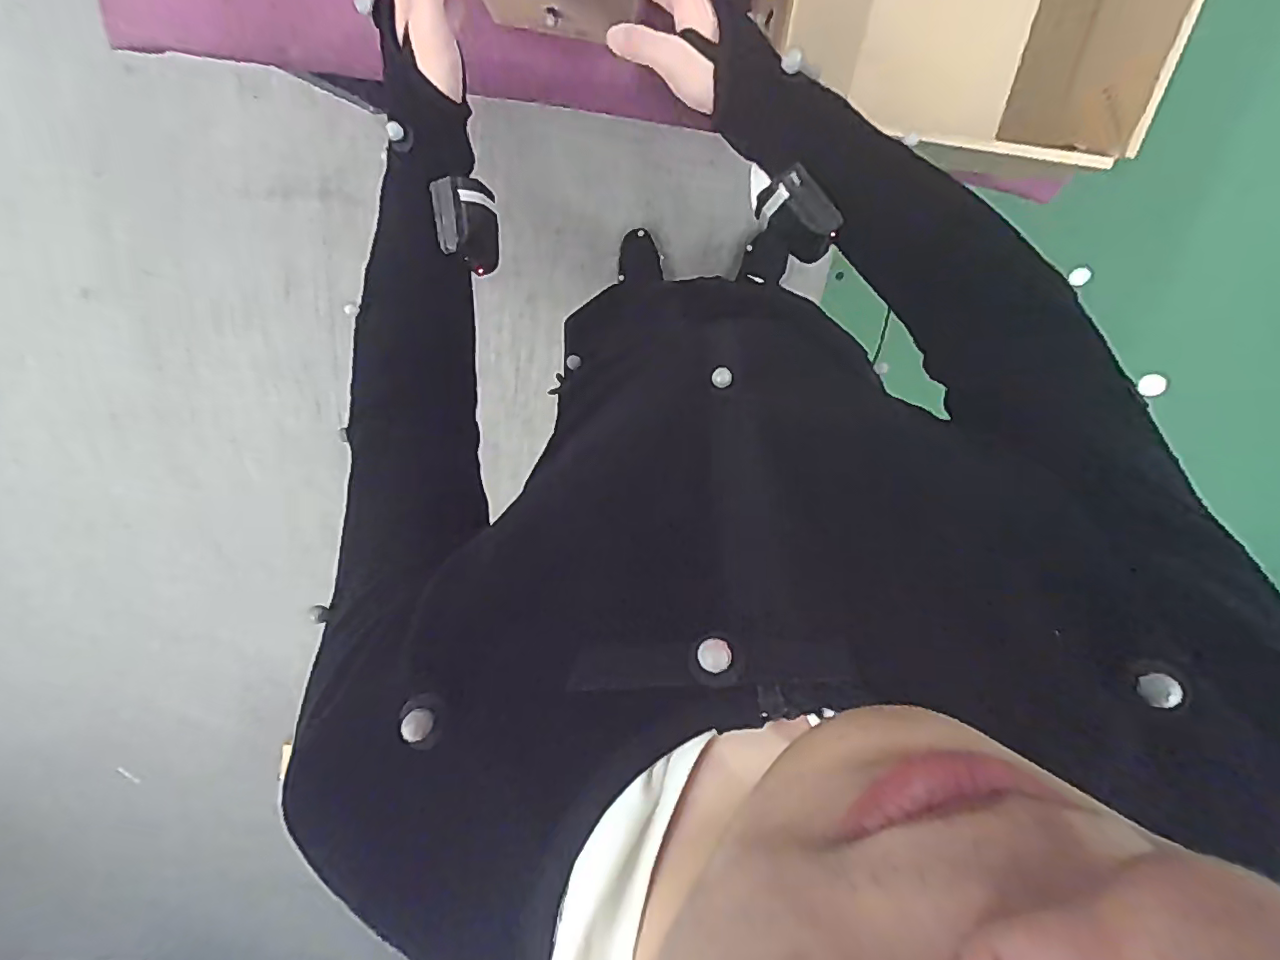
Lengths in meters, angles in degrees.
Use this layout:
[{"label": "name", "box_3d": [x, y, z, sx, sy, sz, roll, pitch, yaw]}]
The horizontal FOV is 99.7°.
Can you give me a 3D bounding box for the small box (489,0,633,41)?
[{"label": "small box", "box_3d": [-0.080, -0.584, 0.546, 0.168, 0.176, 0.179, 6, 114, -6]}]
